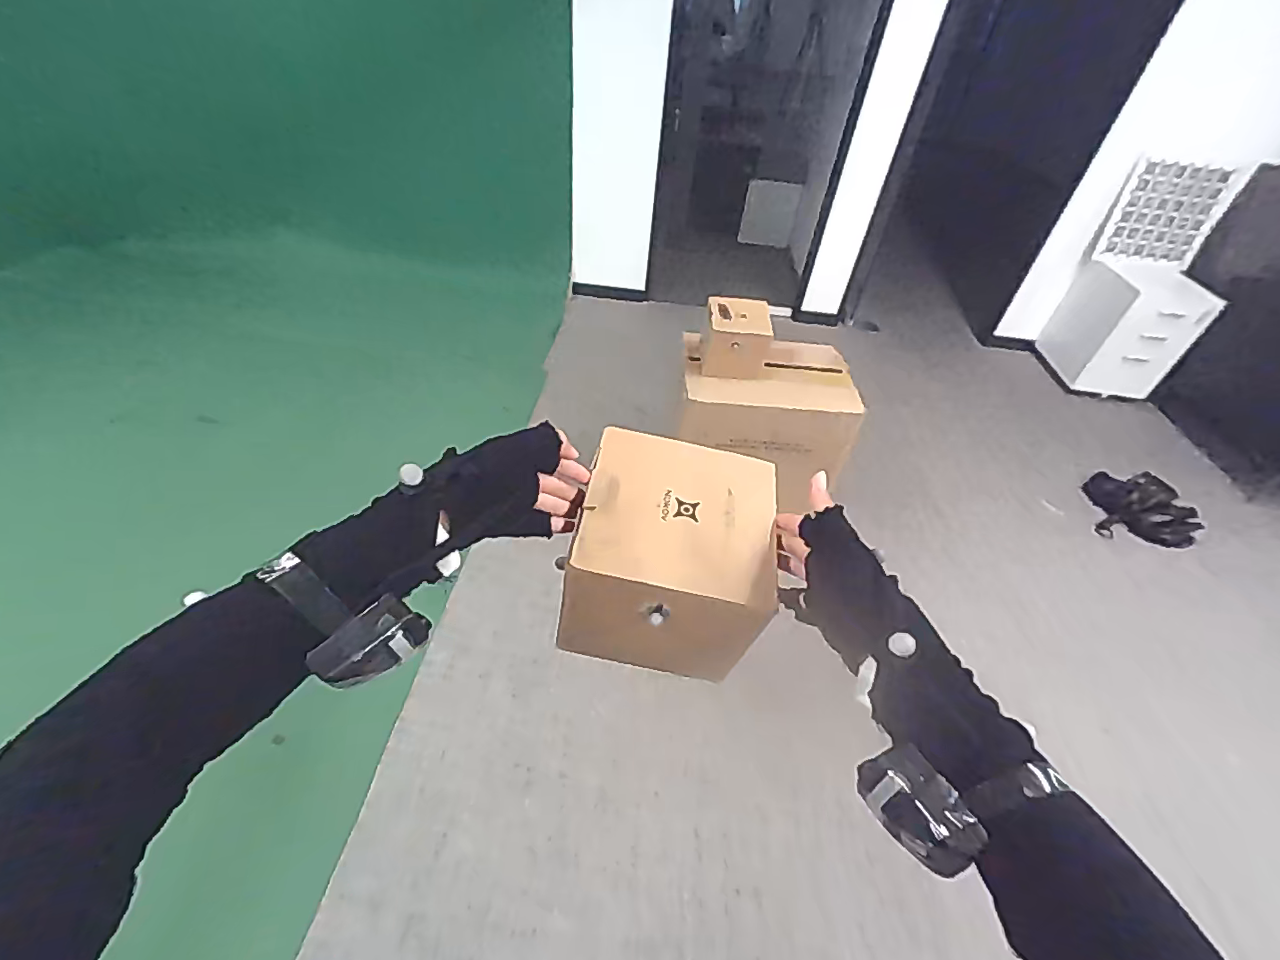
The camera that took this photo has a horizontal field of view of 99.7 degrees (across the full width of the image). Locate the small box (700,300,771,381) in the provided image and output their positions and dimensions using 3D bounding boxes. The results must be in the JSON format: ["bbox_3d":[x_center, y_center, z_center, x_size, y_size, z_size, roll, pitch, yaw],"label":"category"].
[{"bbox_3d":[0.278,-0.416,1.623,0.179,0.176,0.168,5,52,-4],"label":"small box"}]

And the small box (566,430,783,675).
[{"bbox_3d":[0.028,0.079,0.548,0.179,0.176,0.168,13,49,-4],"label":"small box"}]
